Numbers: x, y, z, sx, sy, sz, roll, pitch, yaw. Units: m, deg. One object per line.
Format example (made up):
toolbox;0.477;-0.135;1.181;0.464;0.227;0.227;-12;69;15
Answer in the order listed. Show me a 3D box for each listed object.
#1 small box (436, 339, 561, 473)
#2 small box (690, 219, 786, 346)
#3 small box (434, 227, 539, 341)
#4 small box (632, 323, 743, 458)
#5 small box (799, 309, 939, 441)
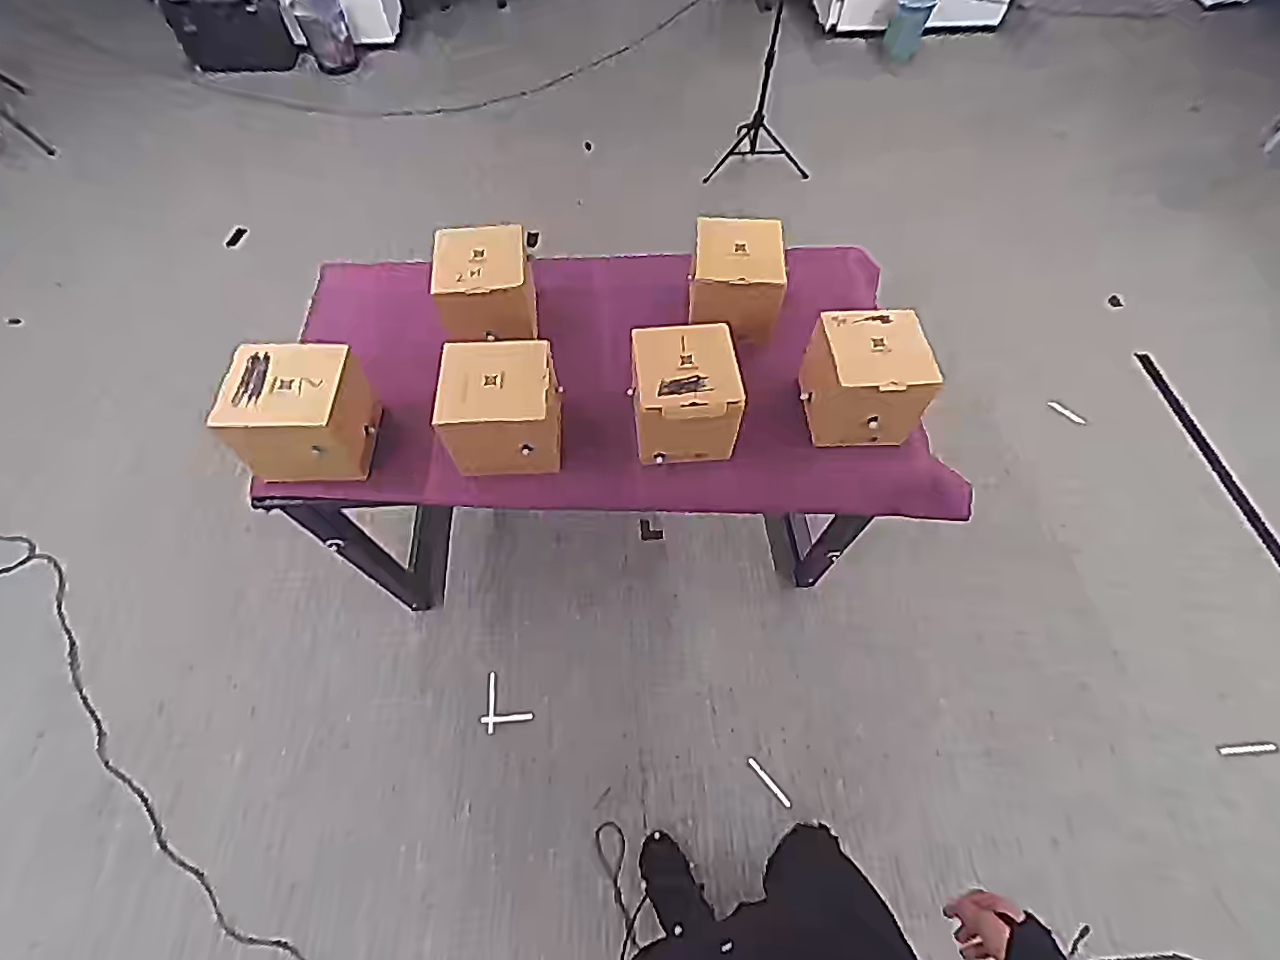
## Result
small box;-0.232;-0.123;0.936;0.179;0.176;0.168;-3;61;-2
small box;0.190;-0.397;1.094;0.168;0.176;0.179;2;62;2
small box;-0.297;-0.372;1.077;0.168;0.176;0.179;-6;61;-3
small box;0.076;-0.150;0.952;0.168;0.176;0.179;-4;60;-3
small box;0.396;-0.181;0.969;0.168;0.176;0.179;-1;59;0
